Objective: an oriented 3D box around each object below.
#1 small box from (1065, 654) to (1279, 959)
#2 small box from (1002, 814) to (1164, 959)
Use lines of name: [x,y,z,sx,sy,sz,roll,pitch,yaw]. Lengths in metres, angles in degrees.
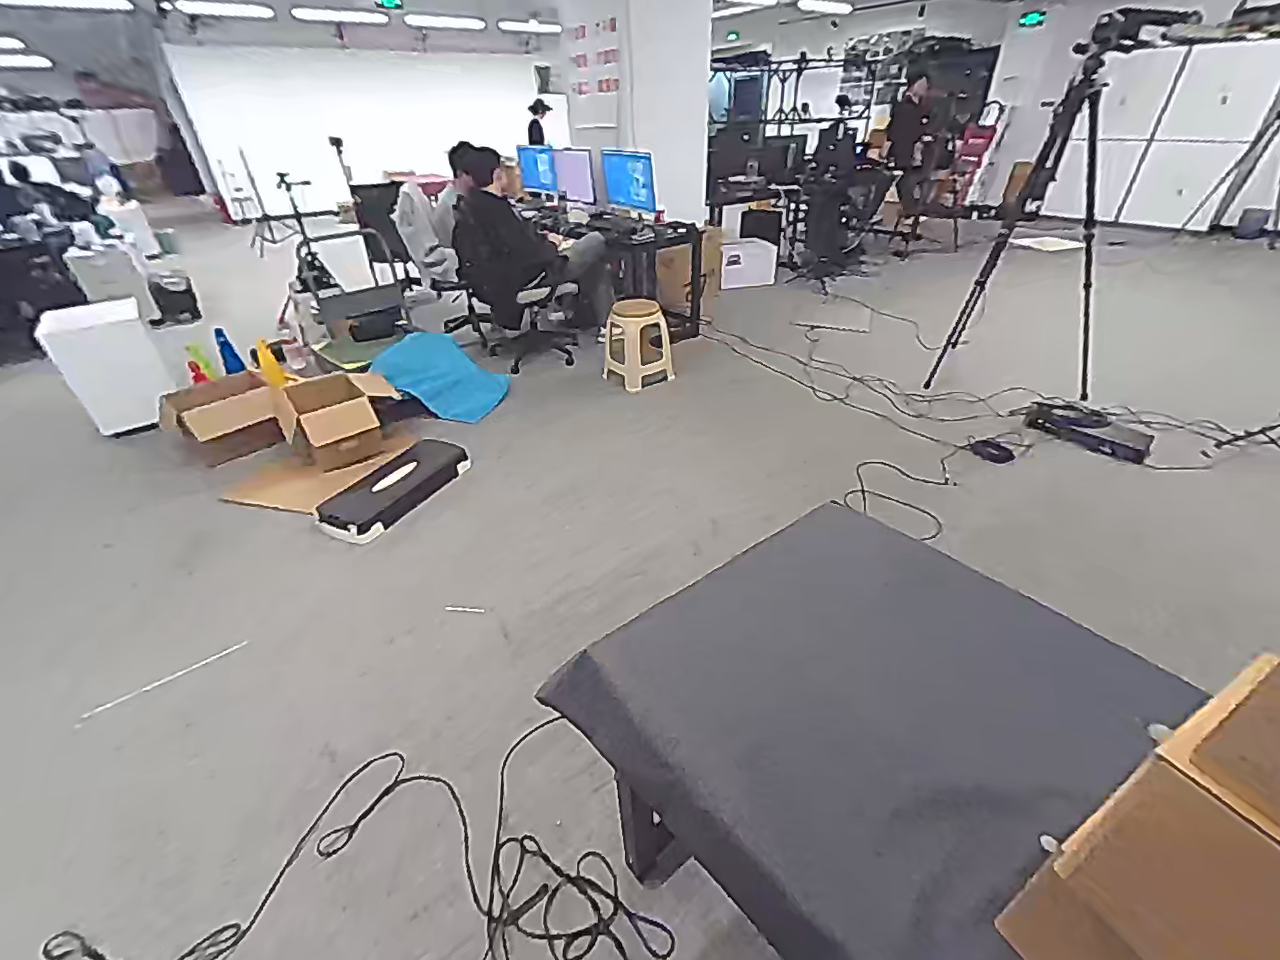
small box: [0.438,0.258,0.354,0.168,0.176,0.179,-17,37,-23]
small box: [0.458,0.385,0.455,0.168,0.176,0.179,-18,36,-24]
